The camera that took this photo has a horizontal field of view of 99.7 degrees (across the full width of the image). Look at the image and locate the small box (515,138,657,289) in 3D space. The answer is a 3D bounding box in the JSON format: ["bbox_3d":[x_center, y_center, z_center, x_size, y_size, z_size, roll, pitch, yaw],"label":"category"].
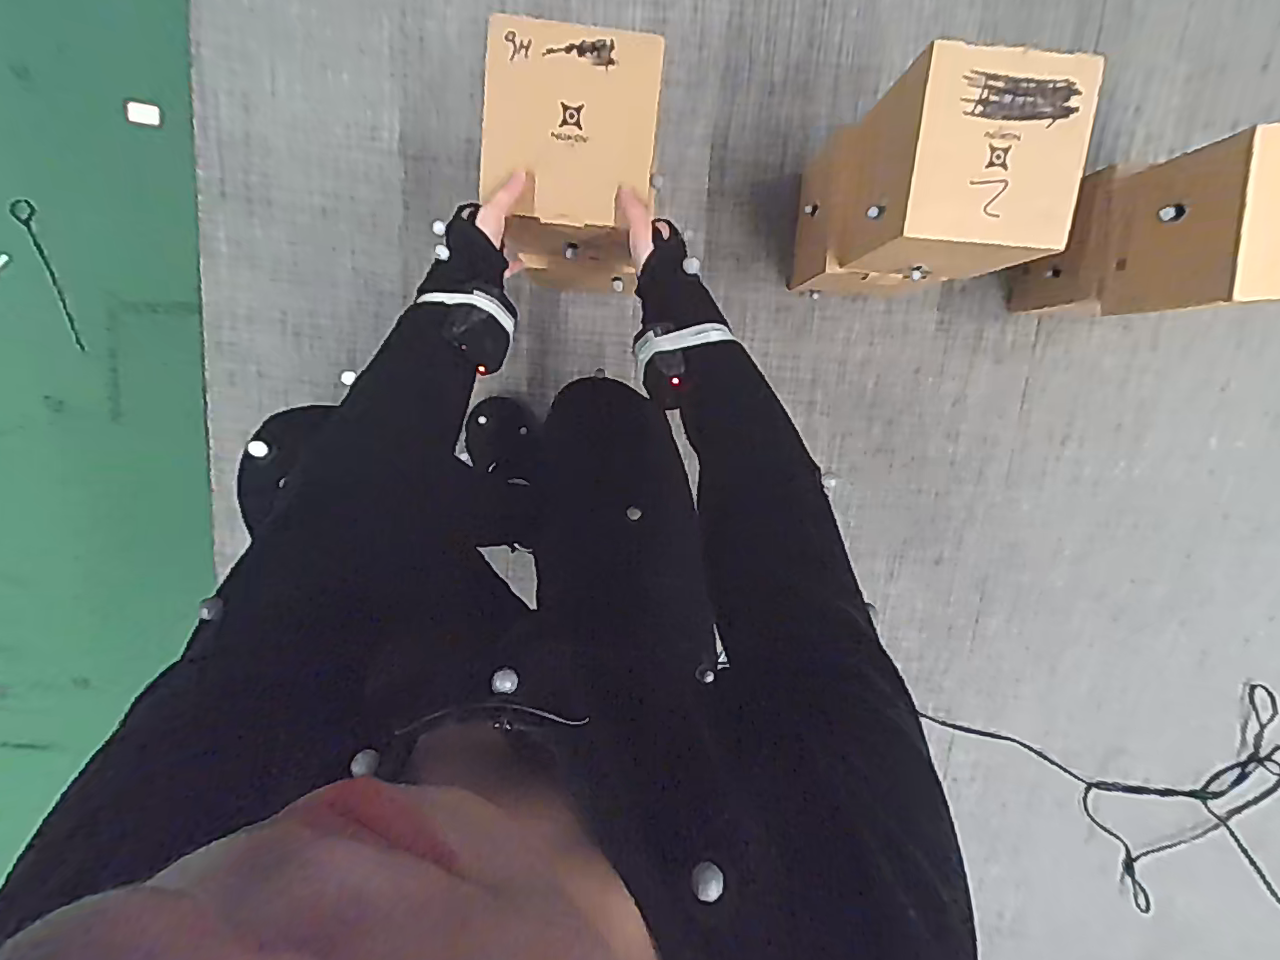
[{"bbox_3d":[-0.071,-0.371,0.764,0.179,0.176,0.168,3,101,-1],"label":"small box"}]

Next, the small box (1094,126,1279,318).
[{"bbox_3d":[0.672,-0.281,0.616,0.179,0.176,0.168,-4,102,0],"label":"small box"}]

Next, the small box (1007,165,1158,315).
[{"bbox_3d":[0.670,-0.329,0.771,0.179,0.176,0.168,2,102,-1],"label":"small box"}]

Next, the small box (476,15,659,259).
[{"bbox_3d":[-0.072,-0.356,0.600,0.168,0.176,0.179,7,102,-2],"label":"small box"}]
